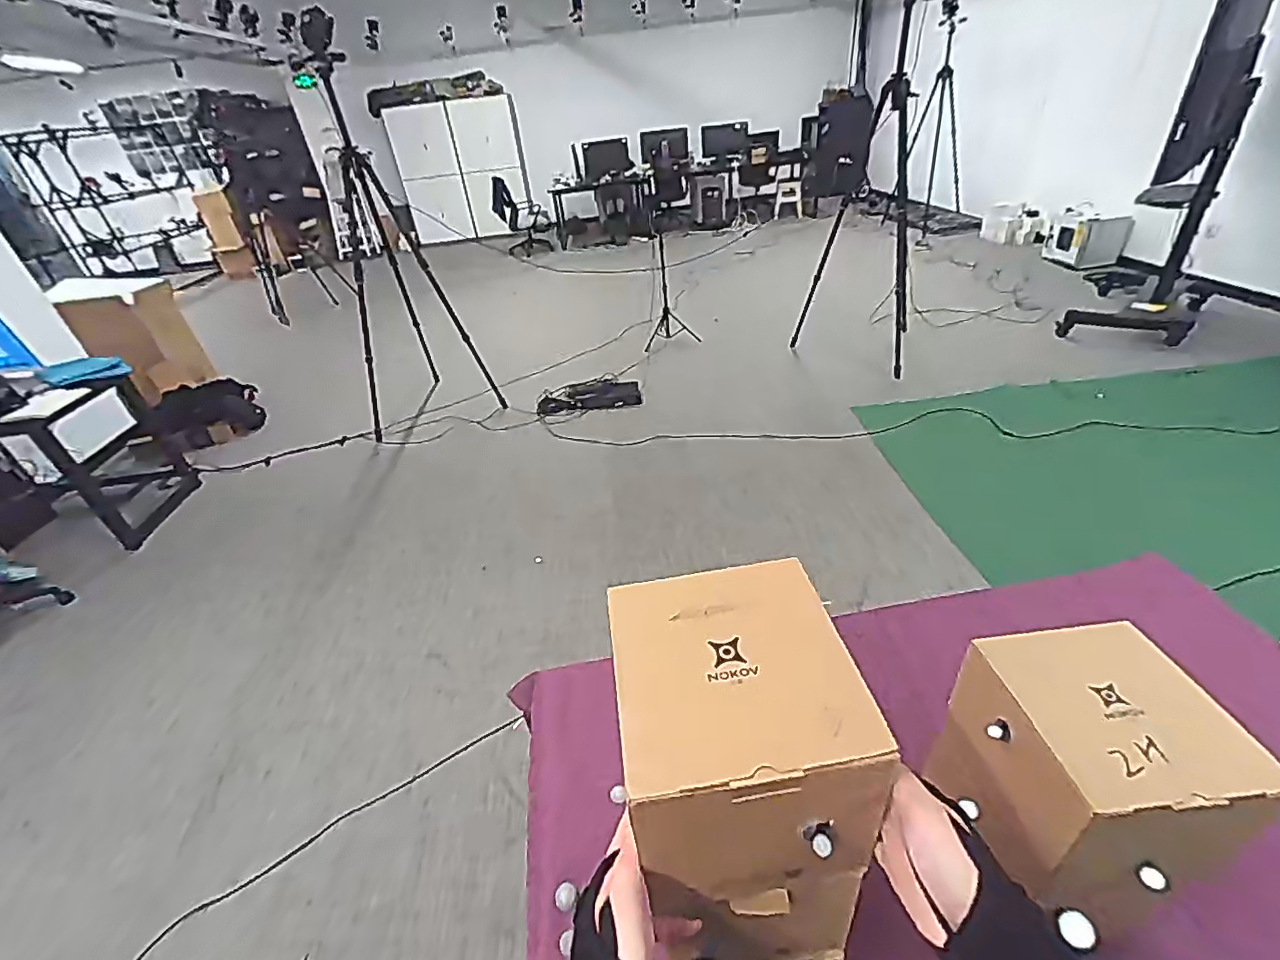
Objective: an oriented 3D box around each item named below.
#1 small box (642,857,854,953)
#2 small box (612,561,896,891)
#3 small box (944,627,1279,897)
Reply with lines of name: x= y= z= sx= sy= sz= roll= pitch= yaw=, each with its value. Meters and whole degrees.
small box: x=0.088 y=0.323 z=0.524 sx=0.168 sy=0.176 sz=0.179 roll=-7 pitch=34 yaw=0
small box: x=0.073 y=0.193 z=0.428 sx=0.168 sy=0.176 sz=0.179 roll=-7 pitch=35 yaw=-2
small box: x=0.435 y=0.274 z=0.537 sx=0.168 sy=0.176 sz=0.179 roll=-6 pitch=35 yaw=1
